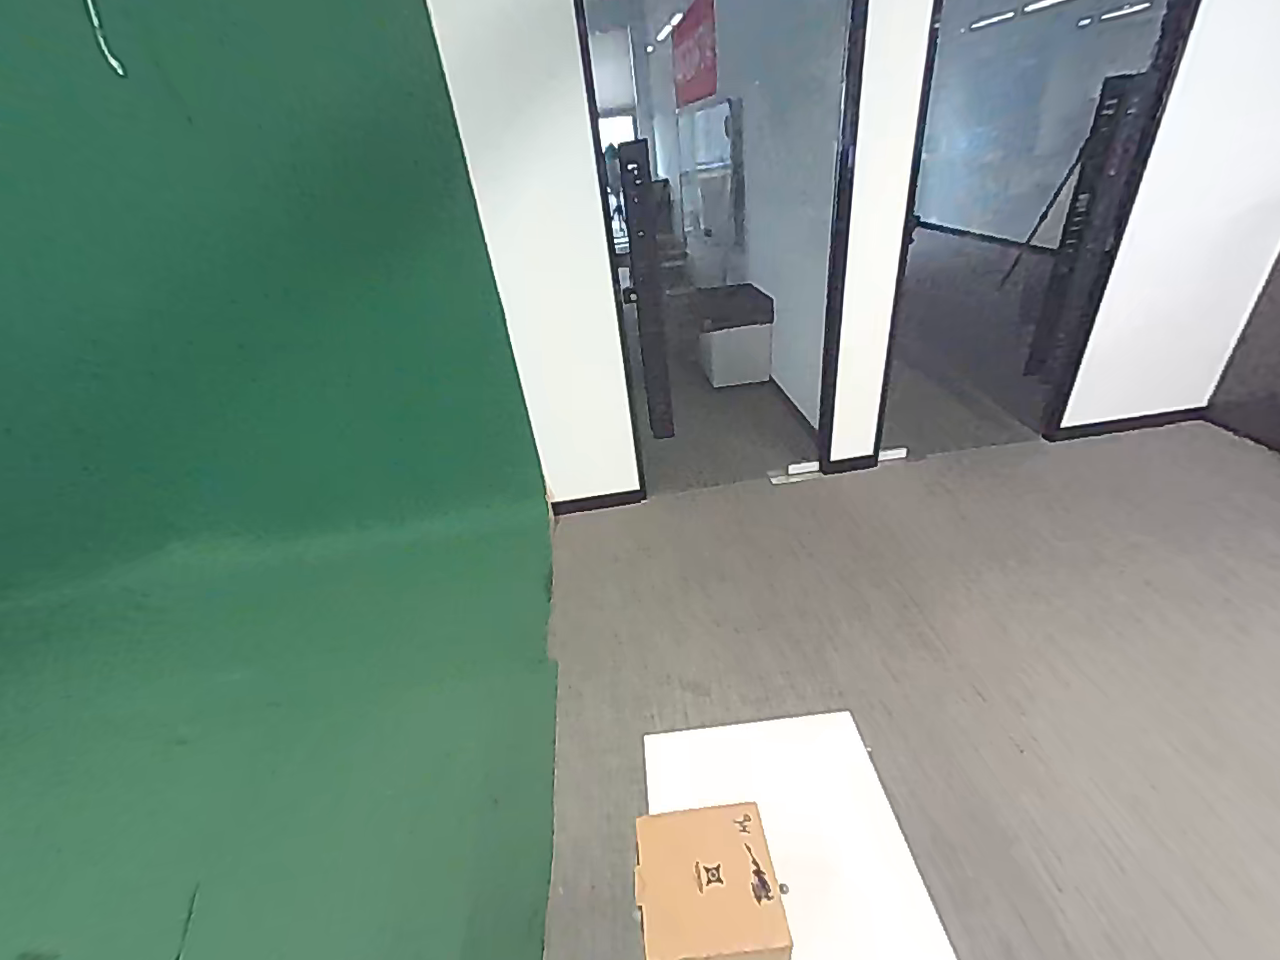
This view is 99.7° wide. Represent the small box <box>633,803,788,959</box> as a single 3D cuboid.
[{"bbox_3d":[0.090,0.574,0.730,0.179,0.176,0.168,-7,32,-1],"label":"small box"}]
